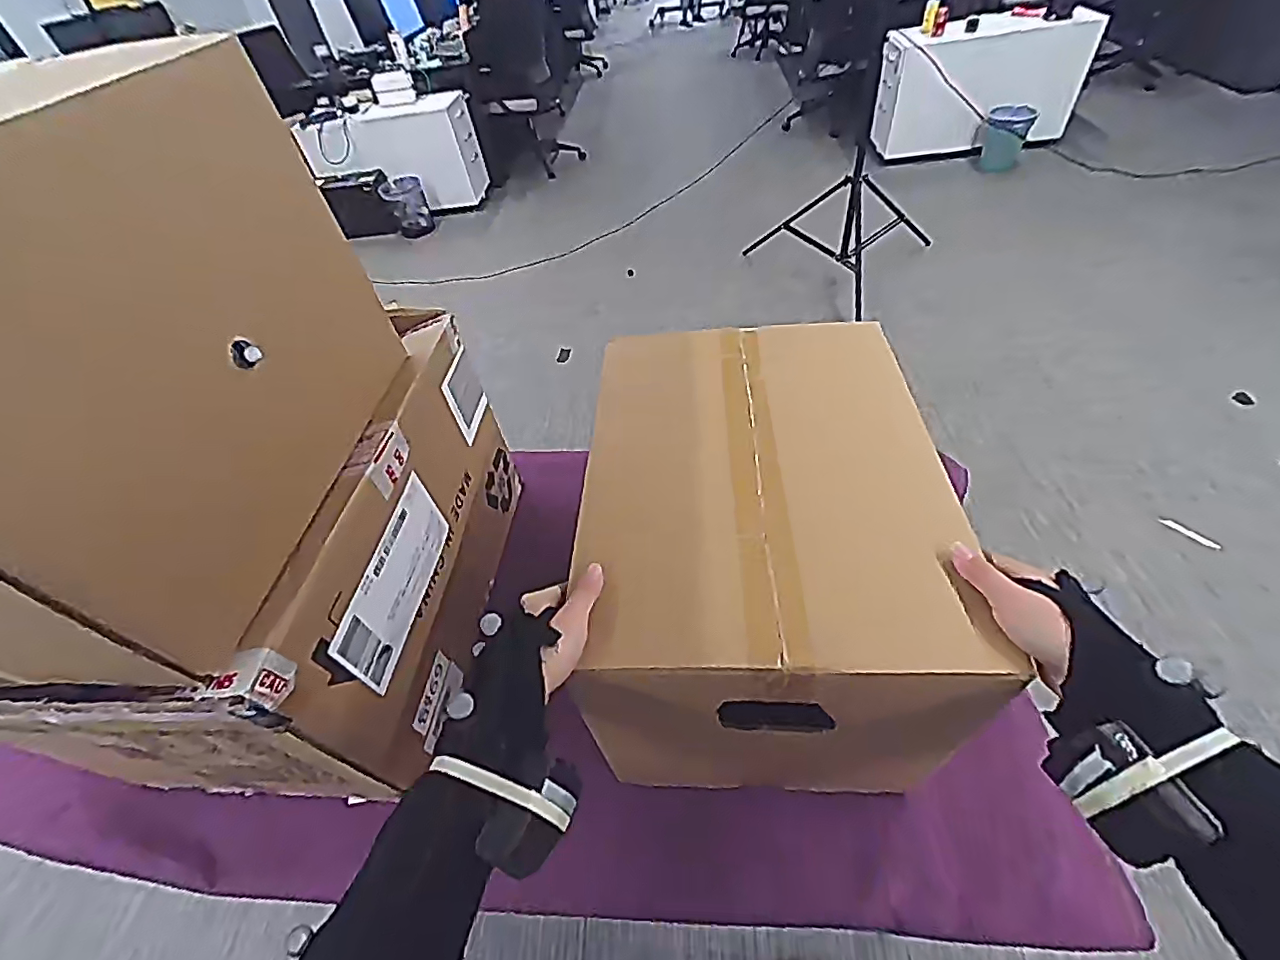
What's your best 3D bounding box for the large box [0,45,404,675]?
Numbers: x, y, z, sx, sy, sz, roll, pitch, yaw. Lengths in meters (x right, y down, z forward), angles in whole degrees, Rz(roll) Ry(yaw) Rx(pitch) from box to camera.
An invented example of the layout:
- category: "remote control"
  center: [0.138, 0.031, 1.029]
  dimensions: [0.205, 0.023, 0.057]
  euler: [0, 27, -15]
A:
- category: "large box"
  center: [-0.455, -0.097, 0.437]
  dimensions: [0.320, 0.320, 0.408]
  euler: [-4, 48, 8]
